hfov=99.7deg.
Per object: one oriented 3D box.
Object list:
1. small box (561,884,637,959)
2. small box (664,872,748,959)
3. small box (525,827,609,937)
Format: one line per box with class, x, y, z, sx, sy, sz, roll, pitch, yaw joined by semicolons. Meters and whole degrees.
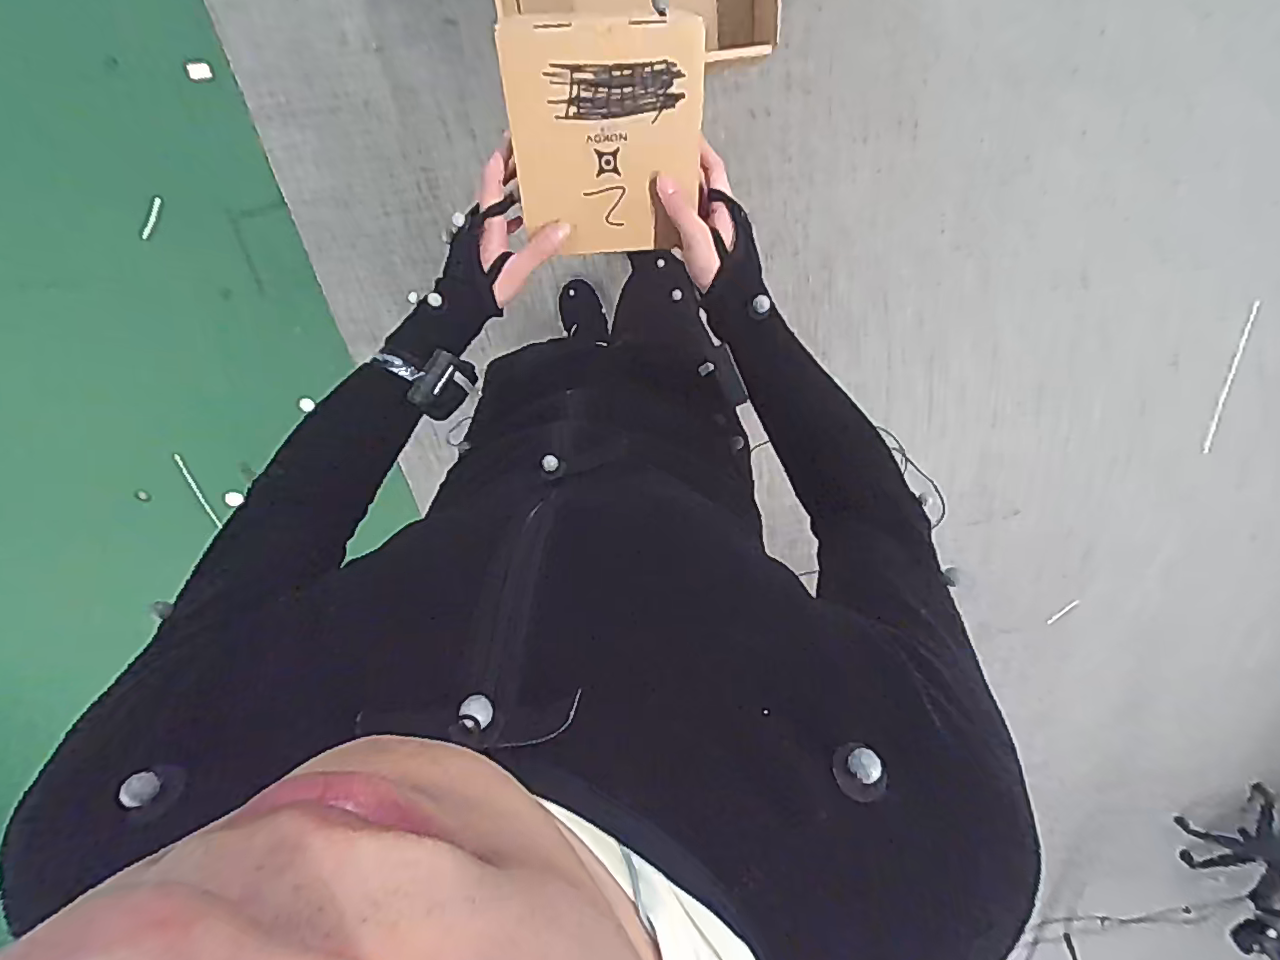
small box;-0.107;1.273;1.511;0.179;0.176;0.168;-15;118;5
small box;0.175;1.209;1.480;0.168;0.176;0.179;-26;117;13
small box;-0.174;1.004;1.354;0.179;0.176;0.168;-6;121;1
